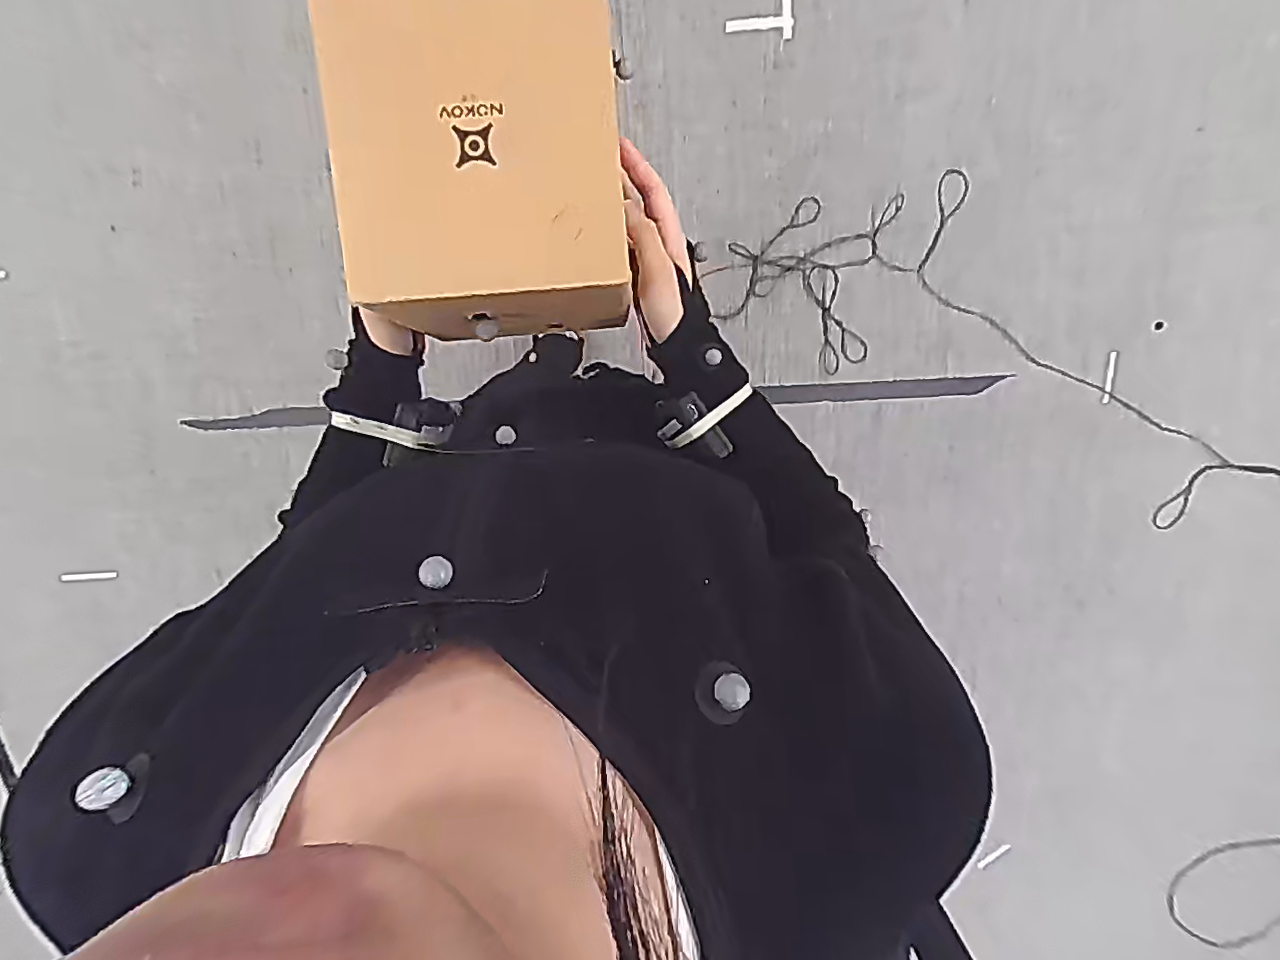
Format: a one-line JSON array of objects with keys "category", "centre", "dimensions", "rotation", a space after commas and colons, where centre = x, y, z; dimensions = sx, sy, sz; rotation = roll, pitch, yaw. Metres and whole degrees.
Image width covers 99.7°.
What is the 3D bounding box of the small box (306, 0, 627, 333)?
[{"category": "small box", "centre": [-0.097, -0.205, 0.384], "dimensions": [0.168, 0.176, 0.179], "rotation": [-5, 96, -1]}]
